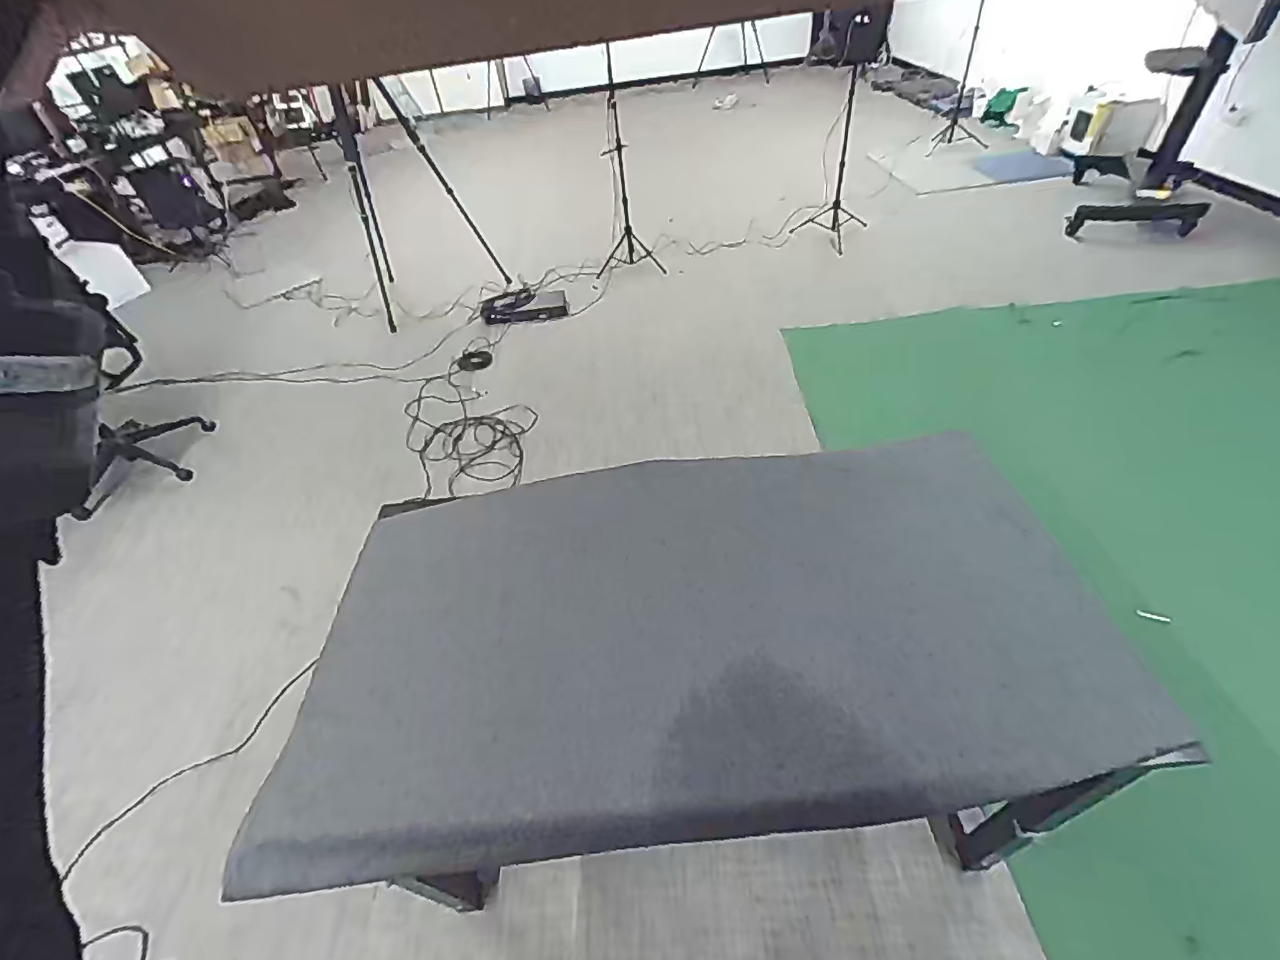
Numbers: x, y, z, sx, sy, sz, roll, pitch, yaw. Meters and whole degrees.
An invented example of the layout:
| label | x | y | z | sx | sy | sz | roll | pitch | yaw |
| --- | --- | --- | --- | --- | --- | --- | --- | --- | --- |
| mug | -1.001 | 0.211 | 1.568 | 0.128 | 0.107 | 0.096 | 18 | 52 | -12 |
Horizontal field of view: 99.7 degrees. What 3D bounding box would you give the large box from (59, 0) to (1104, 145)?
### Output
| label | x | y | z | sx | sy | sz | roll | pitch | yaw |
| --- | --- | --- | --- | --- | --- | --- | --- | --- | --- |
| large box | 0.020 | -0.308 | 0.058 | 0.408 | 0.320 | 0.320 | -9 | 84 | 0 |
